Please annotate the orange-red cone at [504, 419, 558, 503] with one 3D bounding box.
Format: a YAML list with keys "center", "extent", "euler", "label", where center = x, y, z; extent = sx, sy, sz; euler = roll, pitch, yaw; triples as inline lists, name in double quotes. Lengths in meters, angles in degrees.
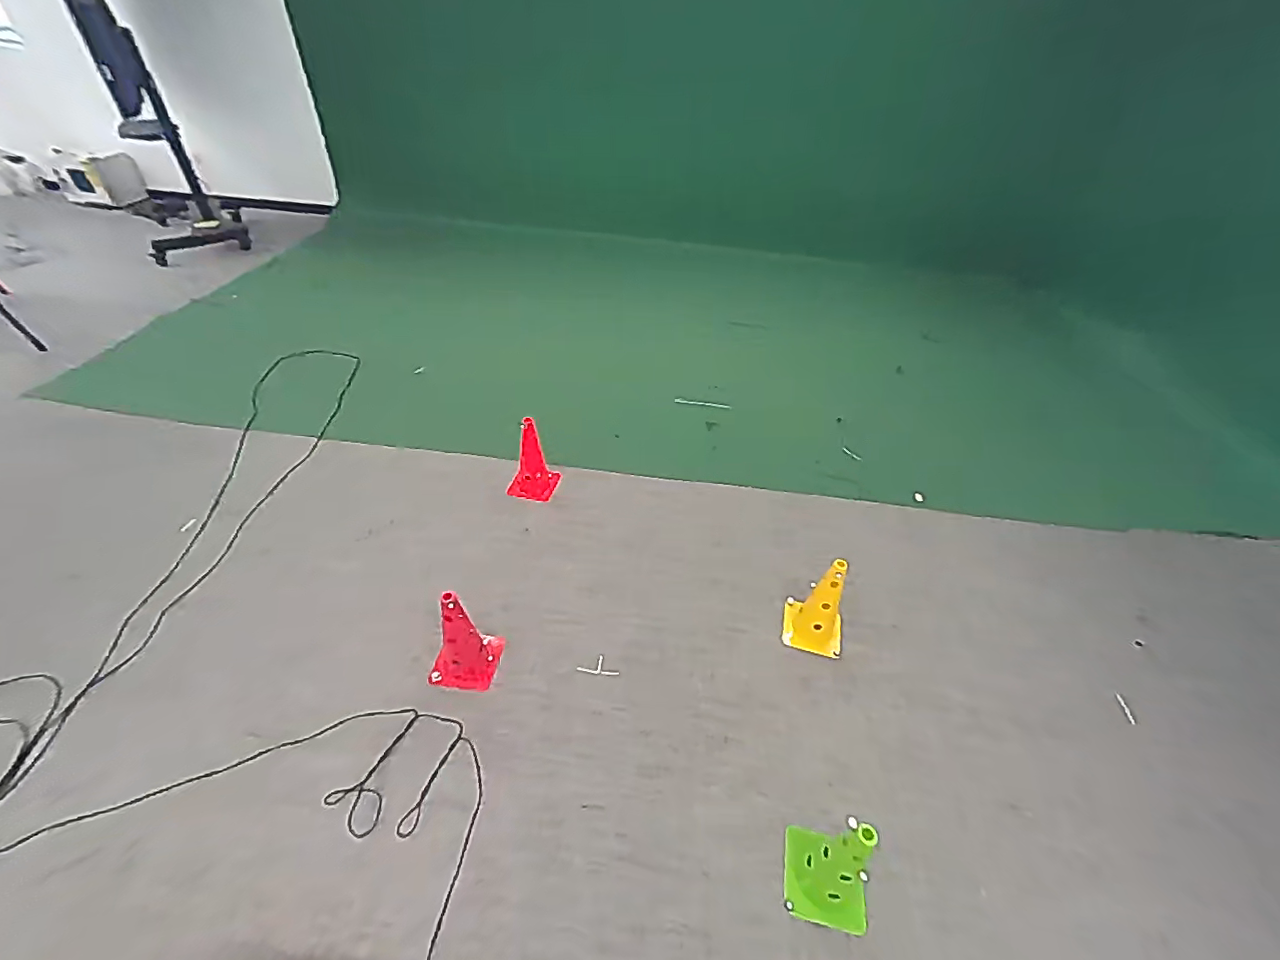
- center: [-0.478, -0.102, 2.304]
  extent: [0.199, 0.360, 0.198]
  euler: [10, 41, 9]
  label: "orange-red cone"

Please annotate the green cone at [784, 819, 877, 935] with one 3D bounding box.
- center: [0.482, 0.890, 1.273]
  extent: [0.200, 0.368, 0.202]
  euler: [11, 41, 7]
  label: "green cone"
